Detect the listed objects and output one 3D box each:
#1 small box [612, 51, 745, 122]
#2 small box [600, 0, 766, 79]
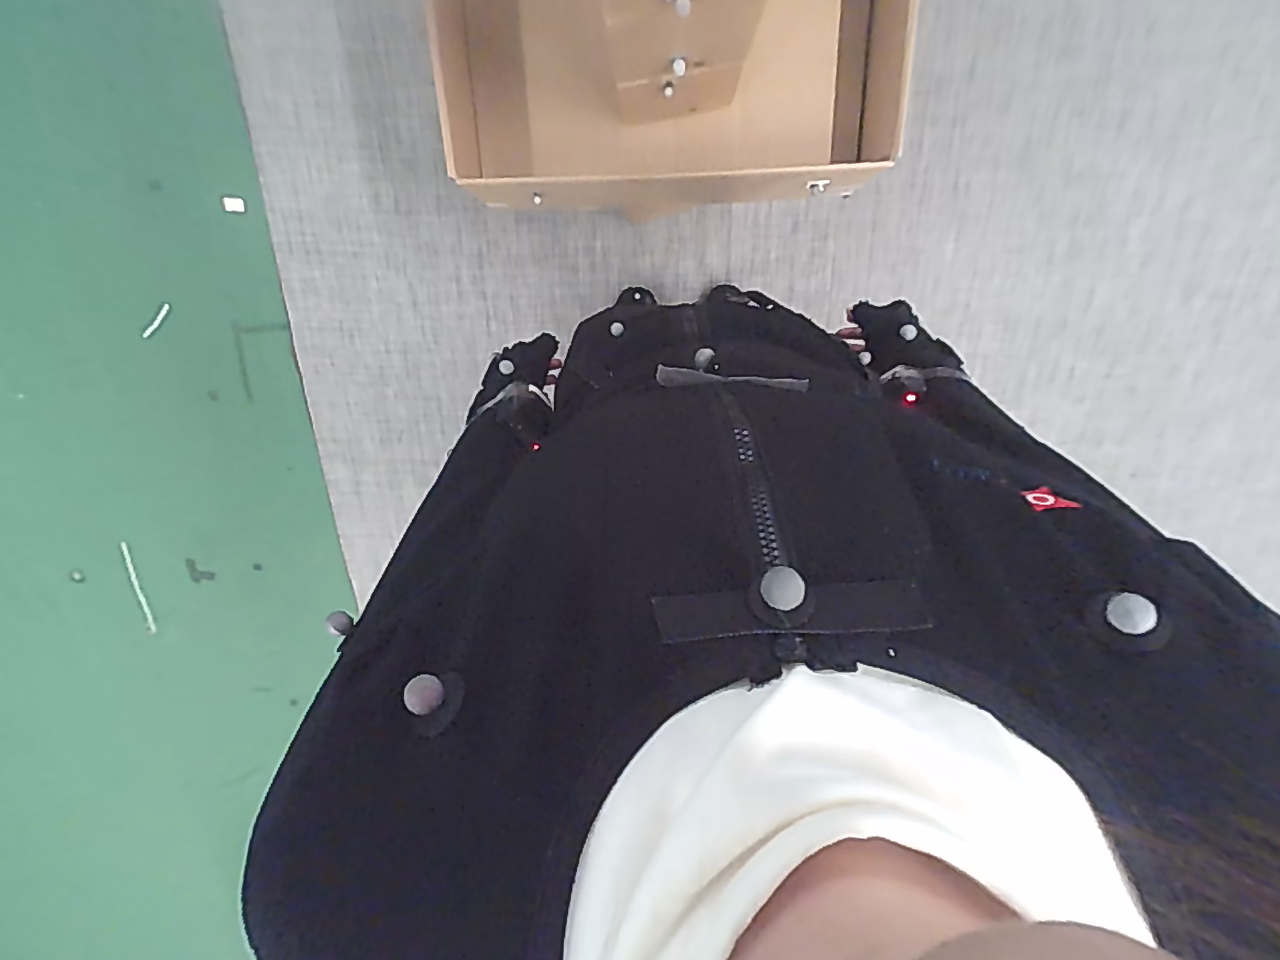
[{"bbox_3d":[0.043,-0.617,0.726,0.168,0.176,0.179,-7,108,6],"label":"small box"},{"bbox_3d":[0.036,-0.565,0.570,0.168,0.176,0.179,-6,110,5],"label":"small box"}]
